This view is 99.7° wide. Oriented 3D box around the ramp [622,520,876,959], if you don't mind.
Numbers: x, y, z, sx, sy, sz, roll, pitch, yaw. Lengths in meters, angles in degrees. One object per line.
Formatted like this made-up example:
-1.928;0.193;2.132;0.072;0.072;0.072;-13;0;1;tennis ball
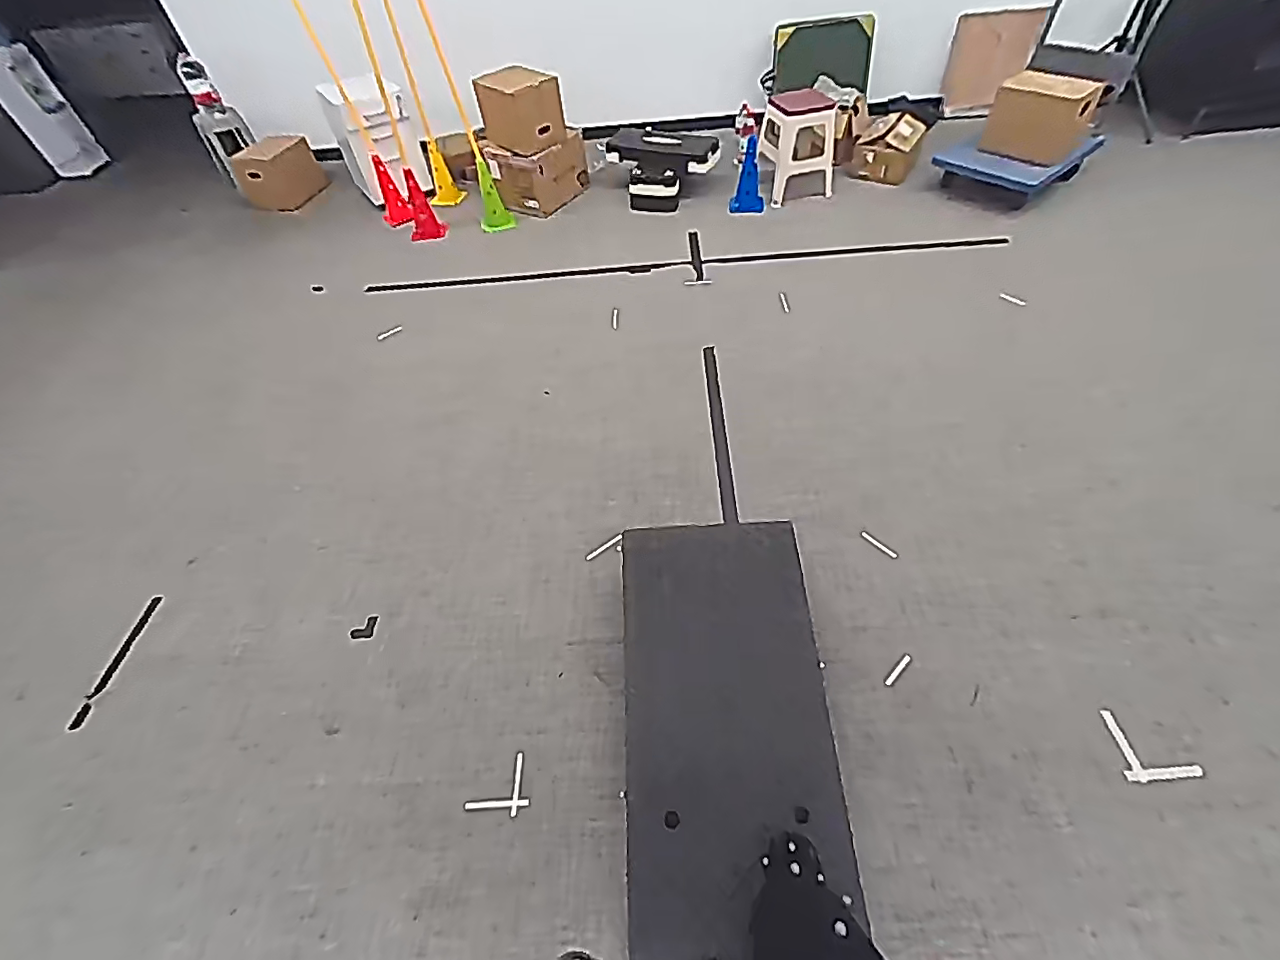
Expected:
0.210;0.564;1.310;0.509;0.206;0.991;-4;50;0;ramp
